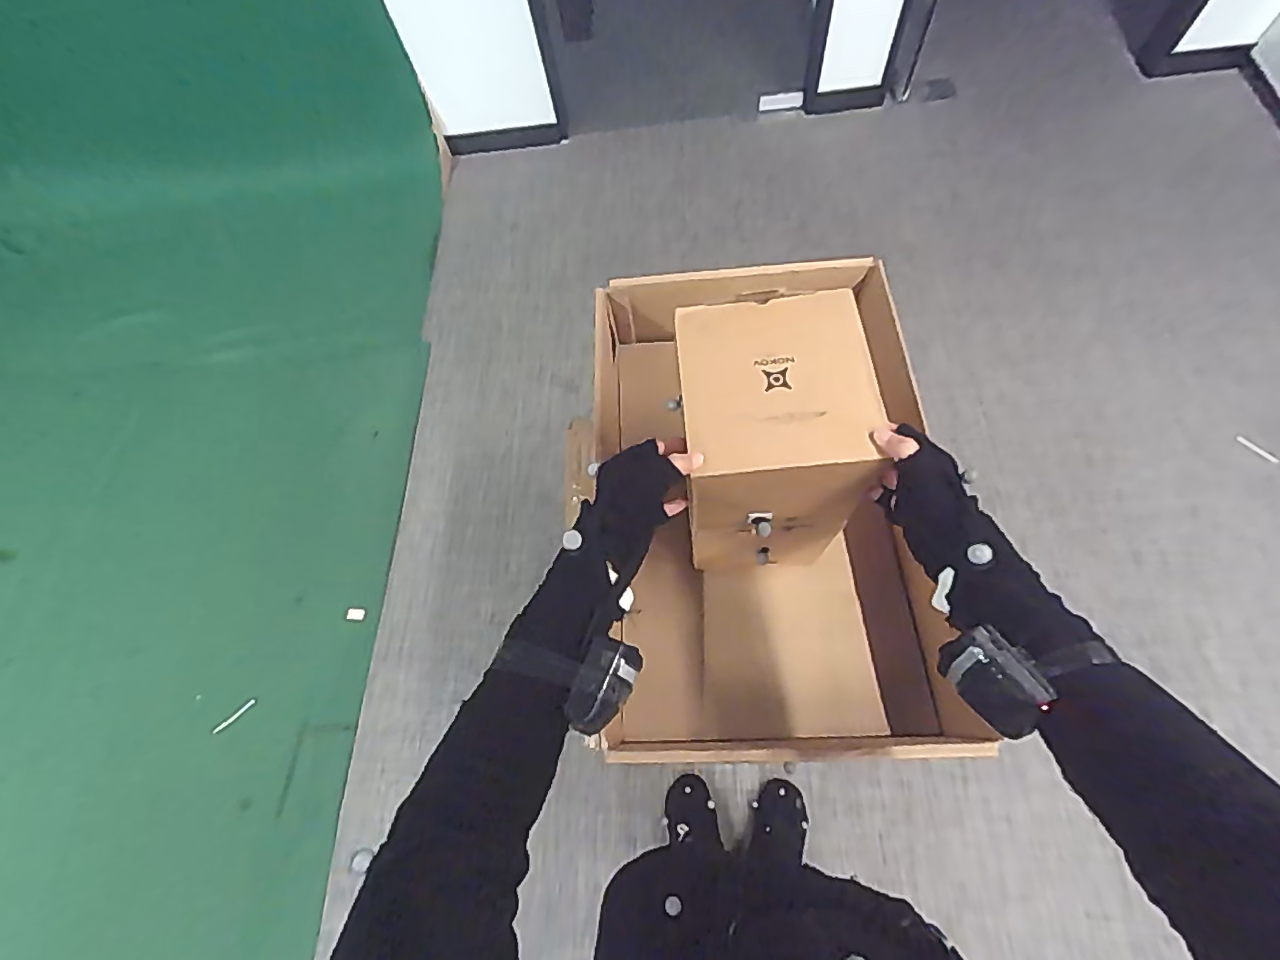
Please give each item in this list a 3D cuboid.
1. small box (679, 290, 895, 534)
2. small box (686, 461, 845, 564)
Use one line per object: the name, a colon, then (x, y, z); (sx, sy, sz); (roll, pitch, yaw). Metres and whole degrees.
small box: (0.127, -0.058, 0.541); (0.168, 0.176, 0.179); (-5, 67, 5)
small box: (0.145, 0.006, 0.689); (0.168, 0.176, 0.179); (-3, 66, 3)
